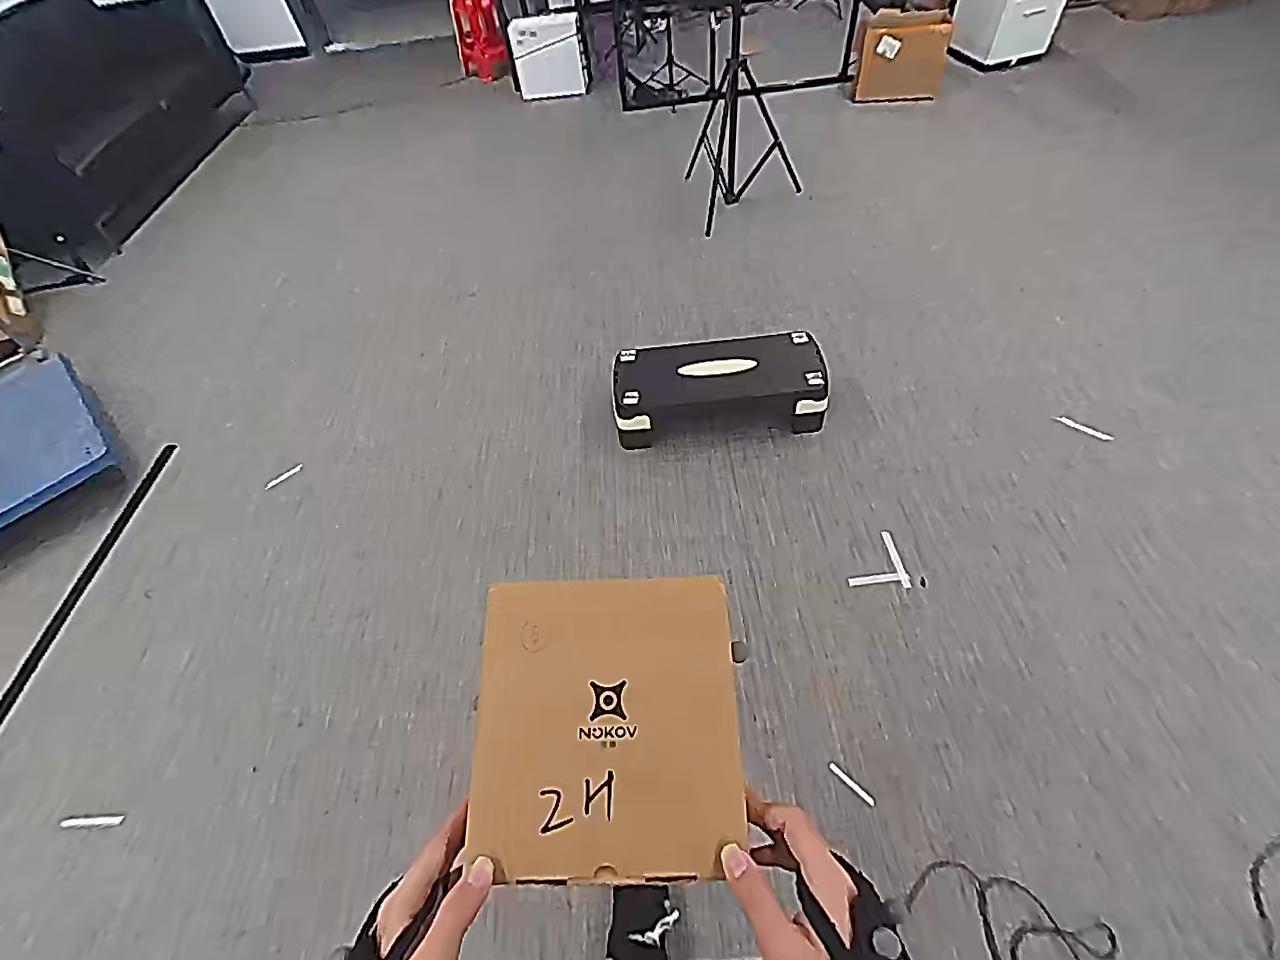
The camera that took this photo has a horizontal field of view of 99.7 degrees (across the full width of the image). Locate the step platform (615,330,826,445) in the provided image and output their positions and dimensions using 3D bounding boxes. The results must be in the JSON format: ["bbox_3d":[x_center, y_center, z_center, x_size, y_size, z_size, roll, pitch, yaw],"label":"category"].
[{"bbox_3d":[0.257,-0.311,1.804,0.684,0.204,0.286,-6,52,3],"label":"step platform"}]

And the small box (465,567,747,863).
[{"bbox_3d":[-0.019,0.176,0.418,0.168,0.176,0.179,-1,64,1],"label":"small box"}]
